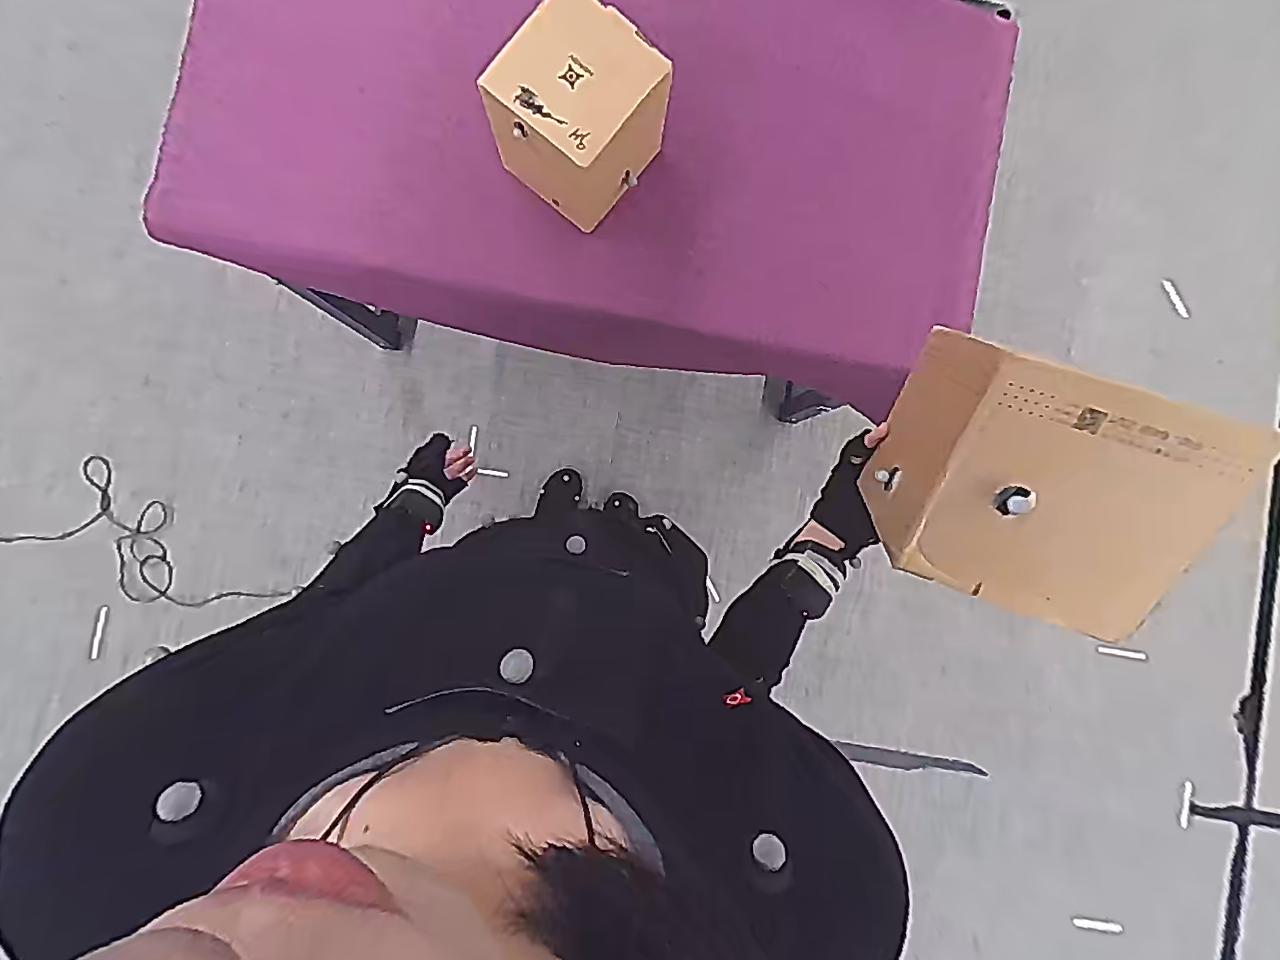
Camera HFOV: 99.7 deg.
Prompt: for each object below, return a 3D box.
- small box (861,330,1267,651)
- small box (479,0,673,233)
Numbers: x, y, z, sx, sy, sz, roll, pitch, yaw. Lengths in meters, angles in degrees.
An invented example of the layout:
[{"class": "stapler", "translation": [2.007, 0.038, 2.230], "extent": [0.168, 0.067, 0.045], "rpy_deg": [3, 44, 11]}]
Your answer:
[{"class": "small box", "translation": [0.299, -0.009, 0.420], "extent": [0.168, 0.179, 0.176], "rpy_deg": [20, 114, 6]}, {"class": "small box", "translation": [-0.082, -0.477, 0.720], "extent": [0.168, 0.176, 0.179], "rpy_deg": [39, 85, -2]}]
